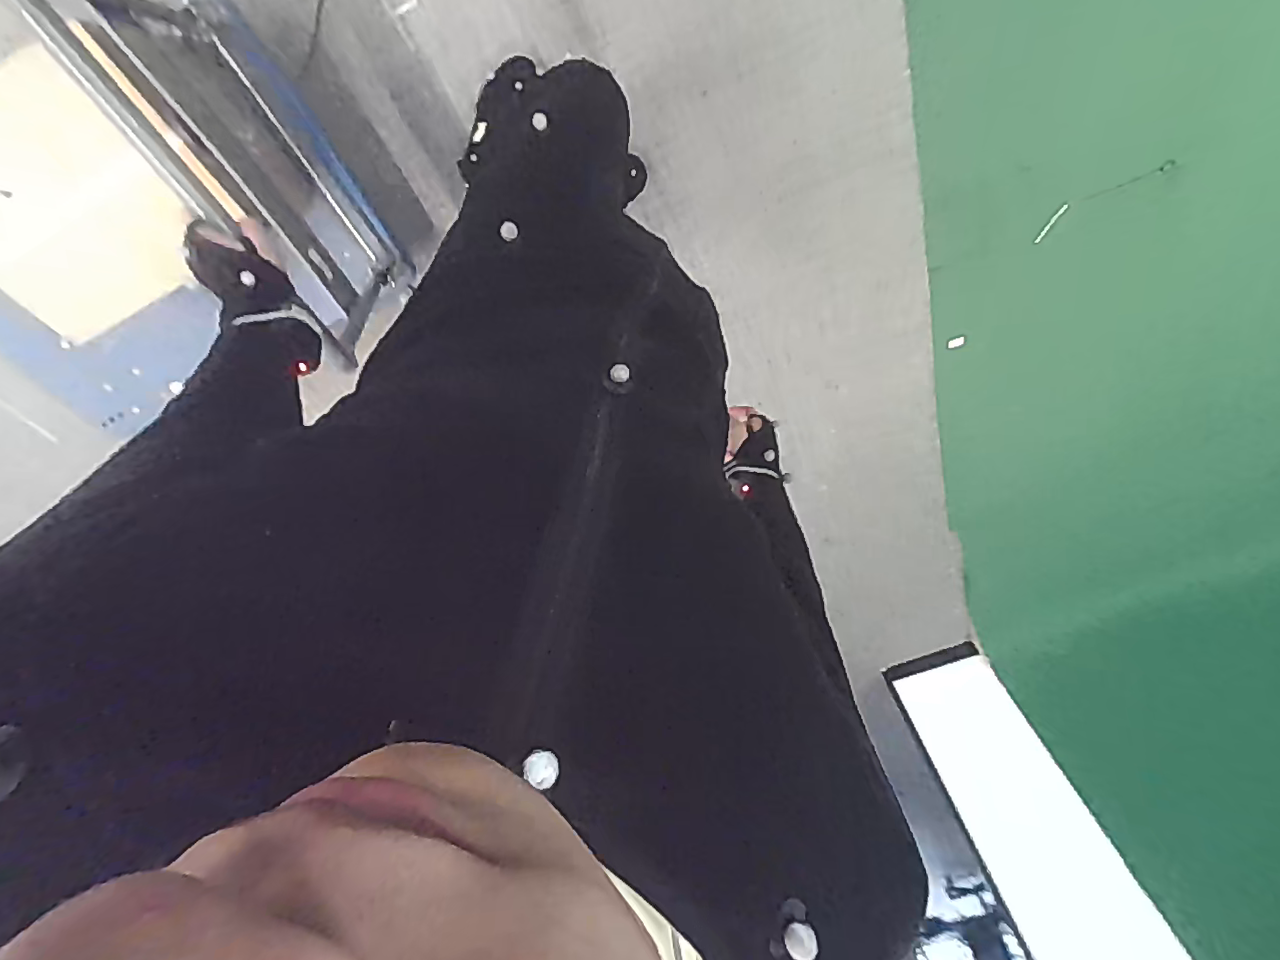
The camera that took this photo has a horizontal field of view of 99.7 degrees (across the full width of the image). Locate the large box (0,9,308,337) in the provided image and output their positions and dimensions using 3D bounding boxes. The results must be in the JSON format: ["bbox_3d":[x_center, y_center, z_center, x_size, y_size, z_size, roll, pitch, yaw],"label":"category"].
[{"bbox_3d":[-0.894,-0.527,0.945,0.408,0.320,0.320,-26,128,5],"label":"large box"}]
